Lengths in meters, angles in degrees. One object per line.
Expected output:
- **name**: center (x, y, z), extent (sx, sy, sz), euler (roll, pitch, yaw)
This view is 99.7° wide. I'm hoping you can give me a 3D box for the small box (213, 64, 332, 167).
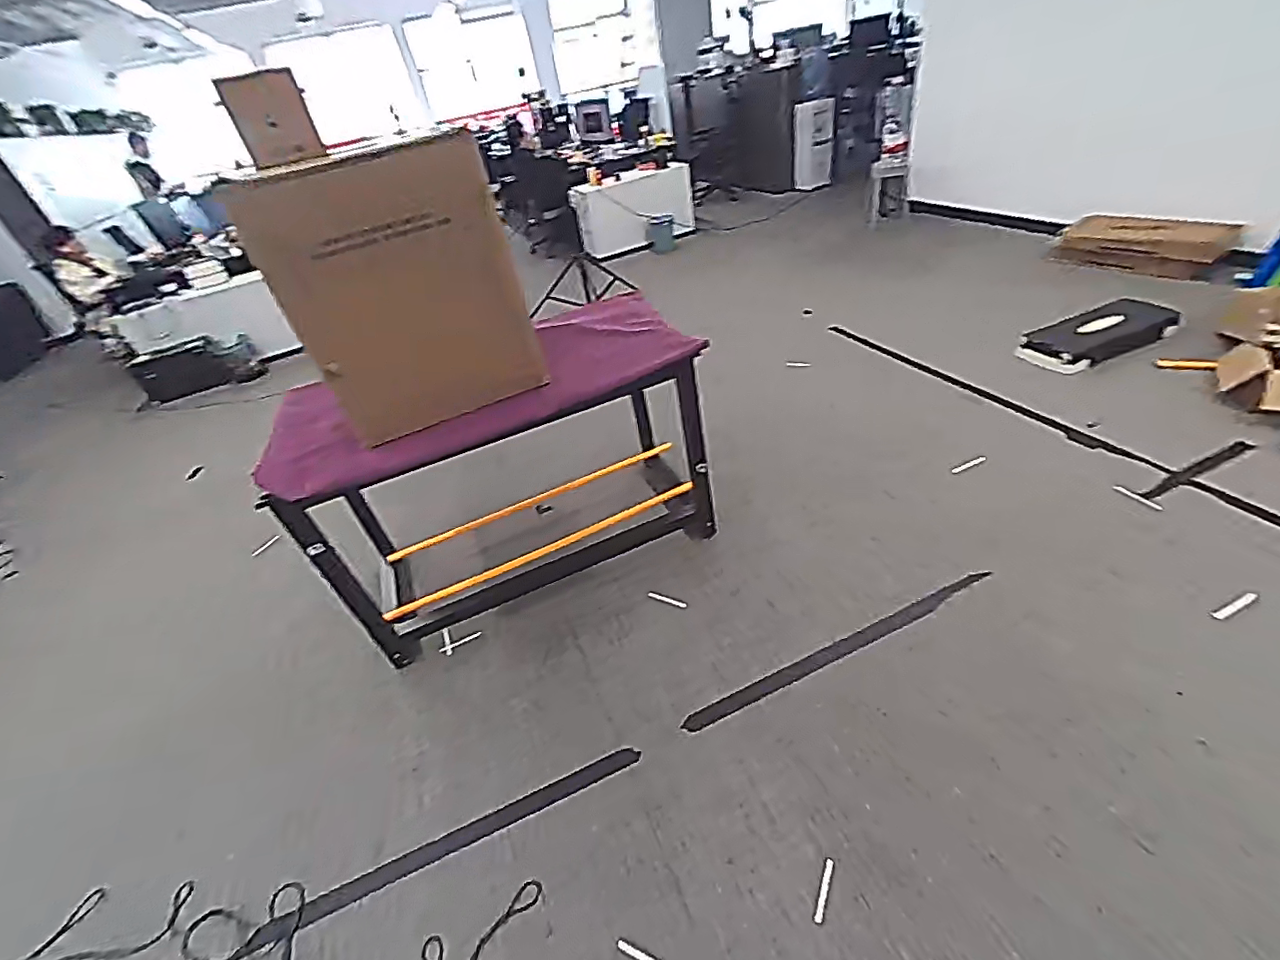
- **small box**: center (-0.825, -0.821, 1.227), extent (0.168, 0.176, 0.179), euler (-26, 40, -19)
